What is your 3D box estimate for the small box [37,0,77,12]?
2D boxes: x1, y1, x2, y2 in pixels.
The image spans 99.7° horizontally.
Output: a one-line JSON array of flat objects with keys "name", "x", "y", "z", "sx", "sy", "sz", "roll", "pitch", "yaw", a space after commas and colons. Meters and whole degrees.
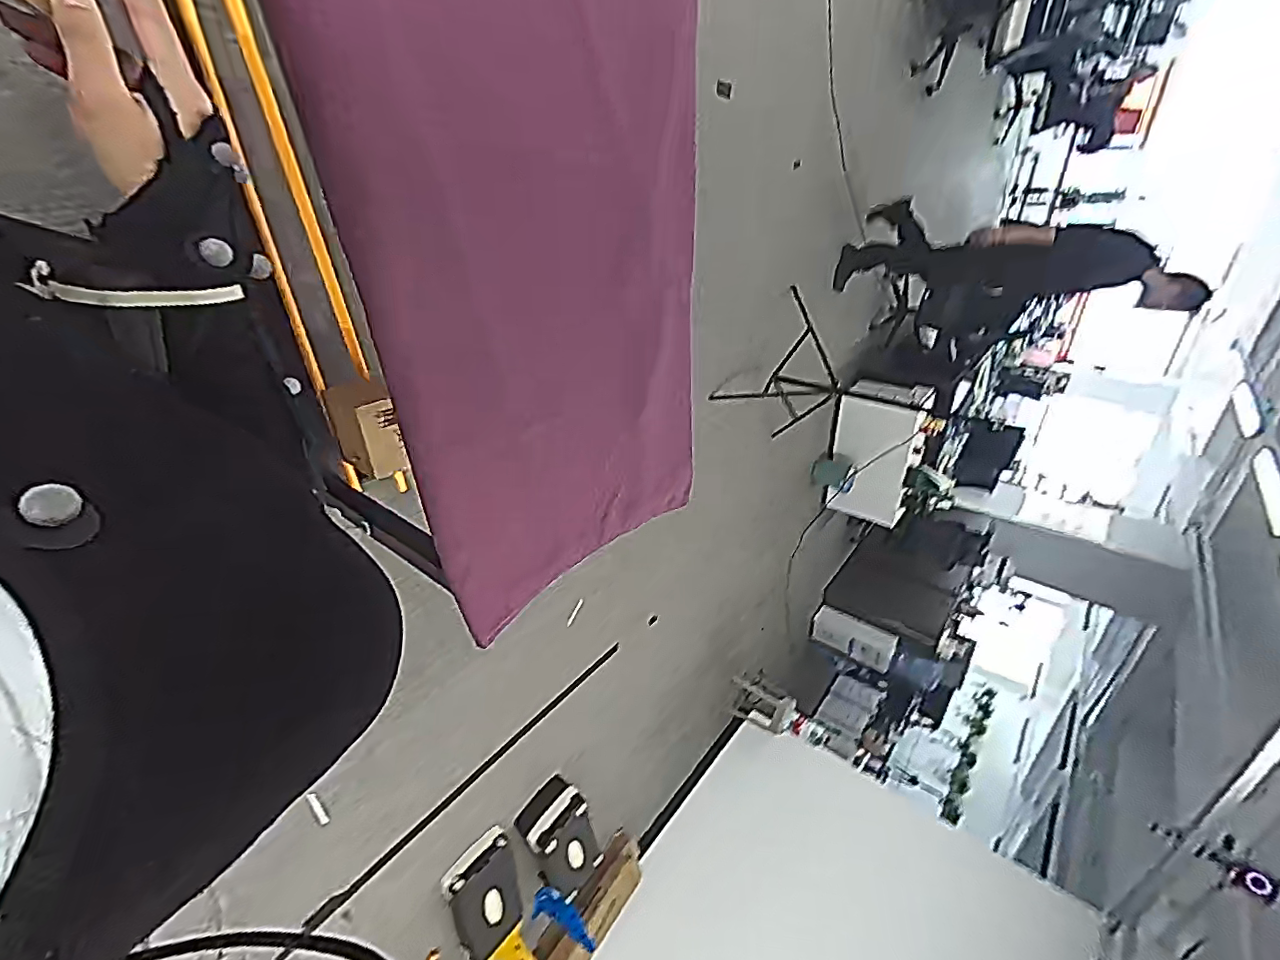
[{"name": "small box", "x": -0.316, "y": -0.362, "z": 0.236, "sx": 0.179, "sy": 0.176, "sz": 0.168, "roll": -53, "pitch": 149, "yaw": -1}]
